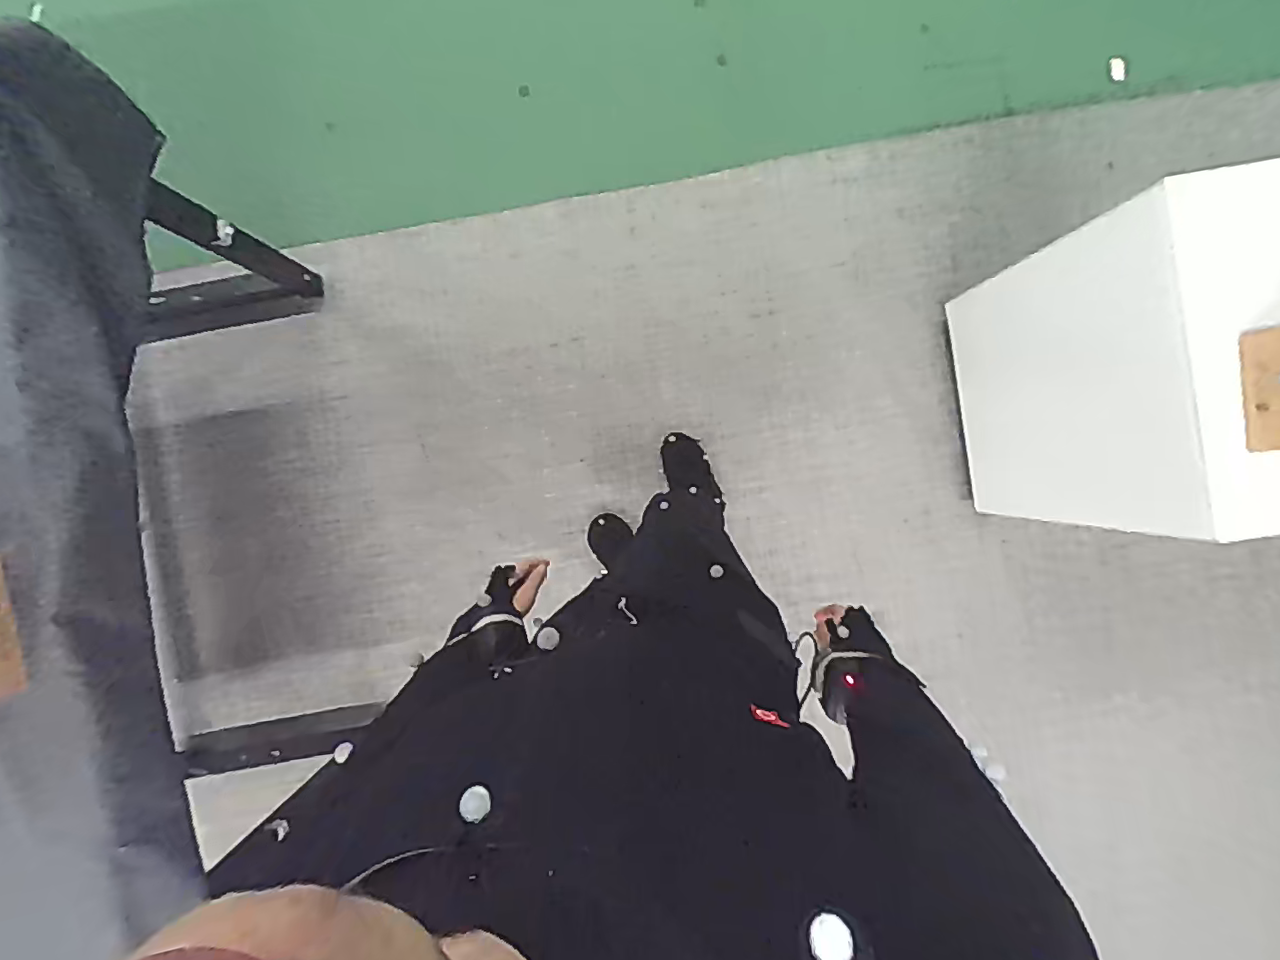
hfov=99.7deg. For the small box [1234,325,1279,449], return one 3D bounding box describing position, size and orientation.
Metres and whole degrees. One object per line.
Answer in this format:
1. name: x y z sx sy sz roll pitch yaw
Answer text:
1. small box: 0.913 -0.128 0.670 0.179 0.176 0.168 -6 91 1
